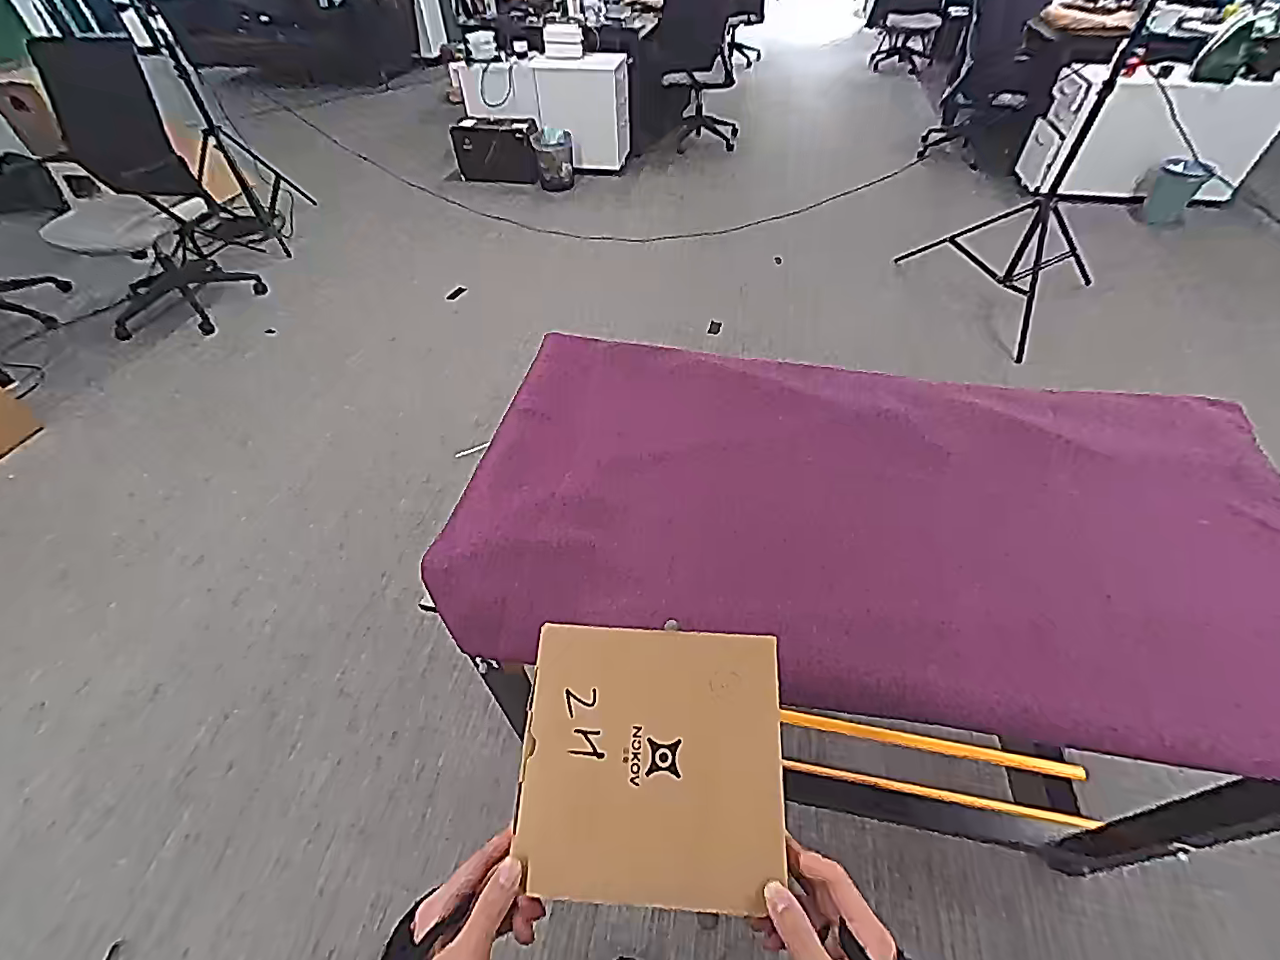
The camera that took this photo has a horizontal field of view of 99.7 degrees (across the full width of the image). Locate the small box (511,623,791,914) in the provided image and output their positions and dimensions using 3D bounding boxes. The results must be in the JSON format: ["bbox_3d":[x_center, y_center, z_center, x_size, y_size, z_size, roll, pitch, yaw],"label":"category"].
[{"bbox_3d":[0.014,0.220,0.437,0.179,0.176,0.168,2,63,4],"label":"small box"}]
